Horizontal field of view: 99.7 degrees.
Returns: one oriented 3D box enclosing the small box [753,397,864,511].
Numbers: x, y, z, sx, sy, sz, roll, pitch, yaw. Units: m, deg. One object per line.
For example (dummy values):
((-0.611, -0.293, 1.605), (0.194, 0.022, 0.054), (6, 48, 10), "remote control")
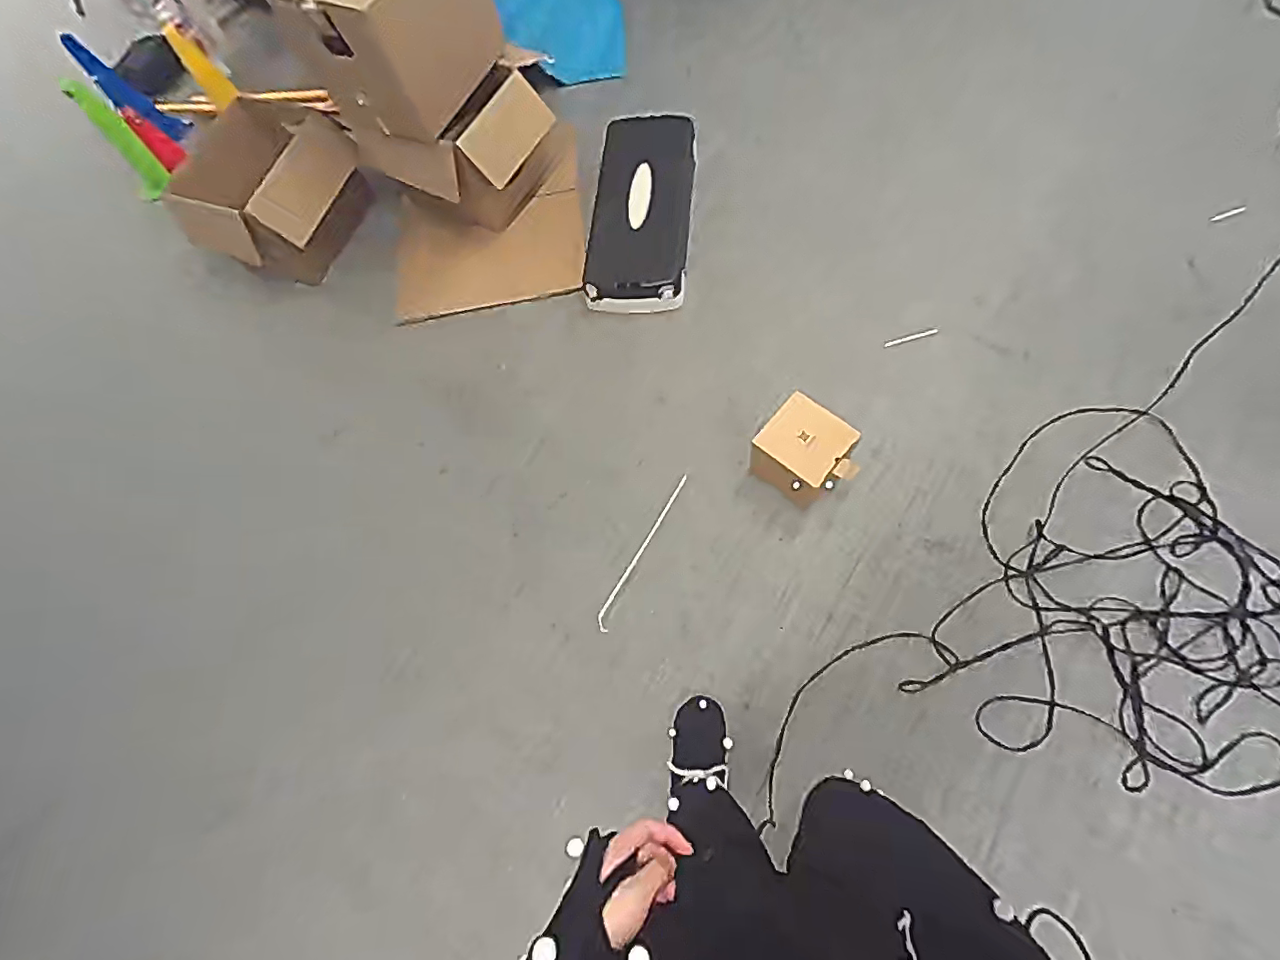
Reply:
((0.379, -0.053, 1.259), (0.179, 0.176, 0.168), (39, 79, 19), "small box")
